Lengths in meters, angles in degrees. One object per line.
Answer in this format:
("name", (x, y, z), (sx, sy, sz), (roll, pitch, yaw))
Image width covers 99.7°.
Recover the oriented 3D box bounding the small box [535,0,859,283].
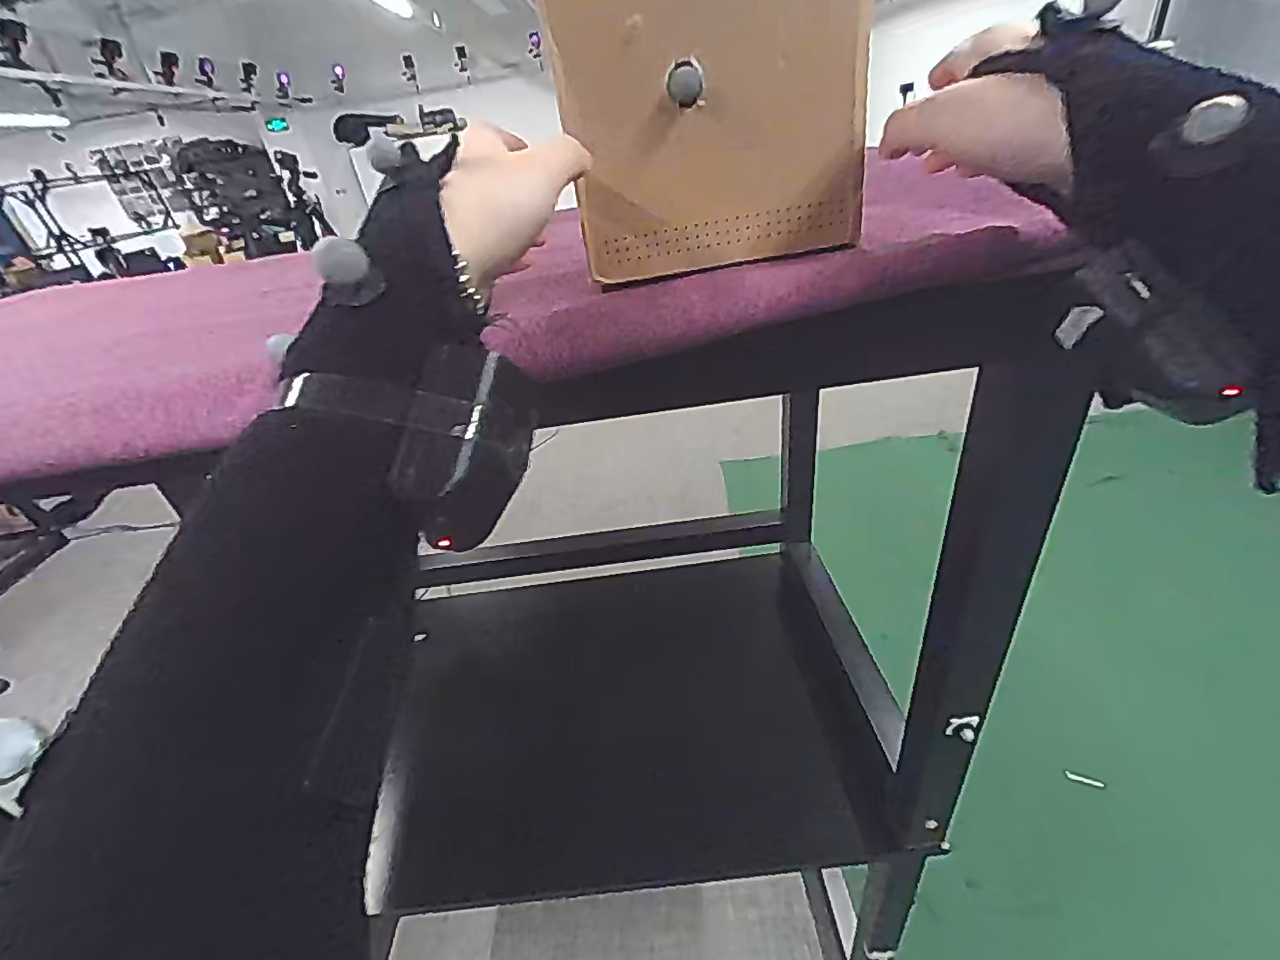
("small box", (0.041, -0.245, 0.374), (0.179, 0.176, 0.168), (-9, 30, 4))
